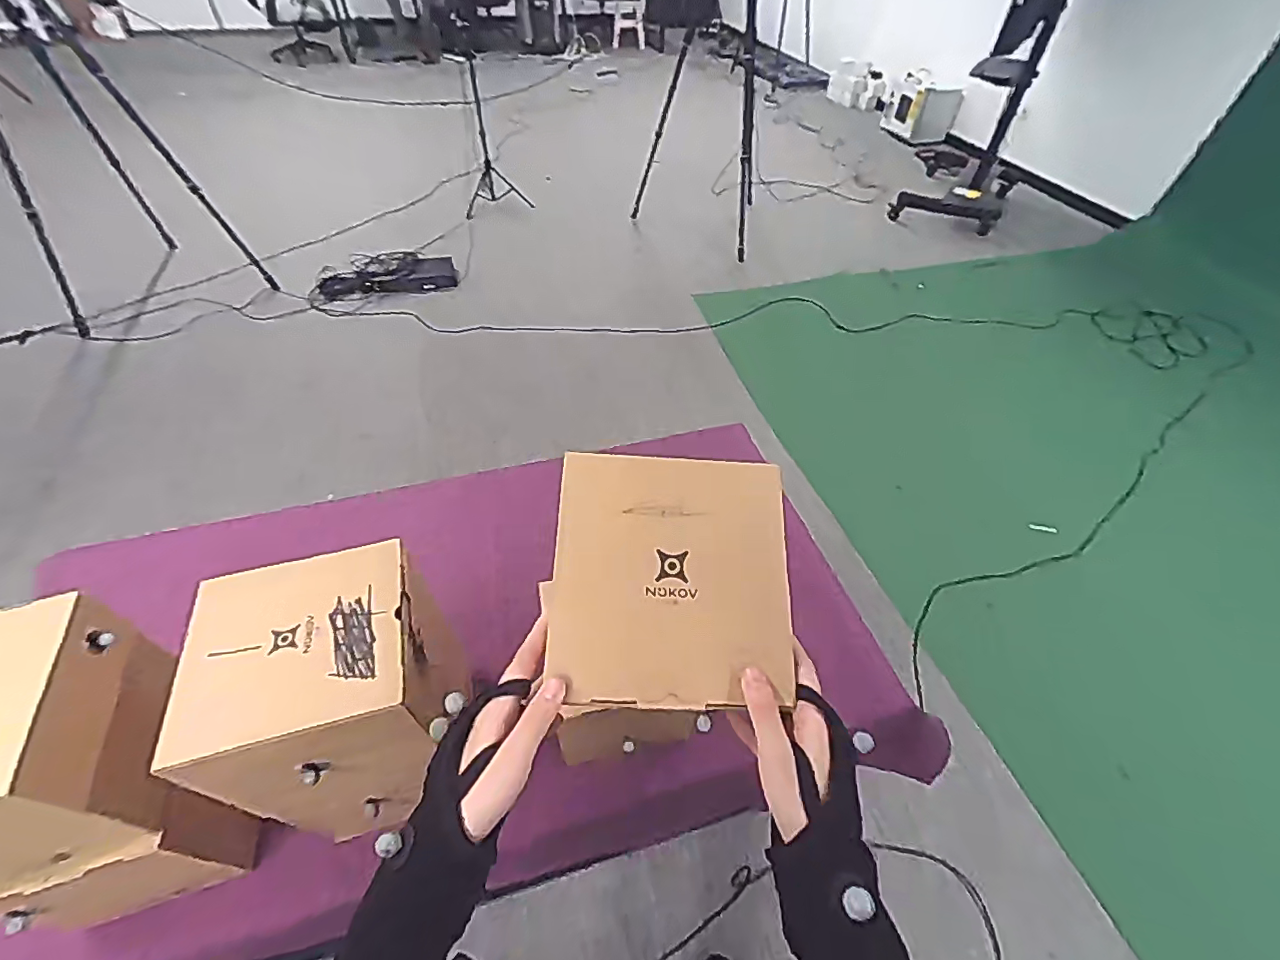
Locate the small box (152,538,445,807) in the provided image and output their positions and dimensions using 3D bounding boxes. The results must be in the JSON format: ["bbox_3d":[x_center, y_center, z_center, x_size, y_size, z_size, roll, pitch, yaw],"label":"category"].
[{"bbox_3d":[-0.292,0.184,0.515,0.179,0.176,0.168,-12,49,-11],"label":"small box"}]

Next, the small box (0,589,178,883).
[{"bbox_3d":[-0.543,0.231,0.471,0.168,0.176,0.179,-15,49,-14],"label":"small box"}]

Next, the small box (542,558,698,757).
[{"bbox_3d":[-0.031,0.229,0.699,0.168,0.176,0.179,-9,49,-7],"label":"small box"}]

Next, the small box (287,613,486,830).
[{"bbox_3d":[-0.295,0.289,0.642,0.179,0.176,0.168,-13,50,-12],"label":"small box"}]
